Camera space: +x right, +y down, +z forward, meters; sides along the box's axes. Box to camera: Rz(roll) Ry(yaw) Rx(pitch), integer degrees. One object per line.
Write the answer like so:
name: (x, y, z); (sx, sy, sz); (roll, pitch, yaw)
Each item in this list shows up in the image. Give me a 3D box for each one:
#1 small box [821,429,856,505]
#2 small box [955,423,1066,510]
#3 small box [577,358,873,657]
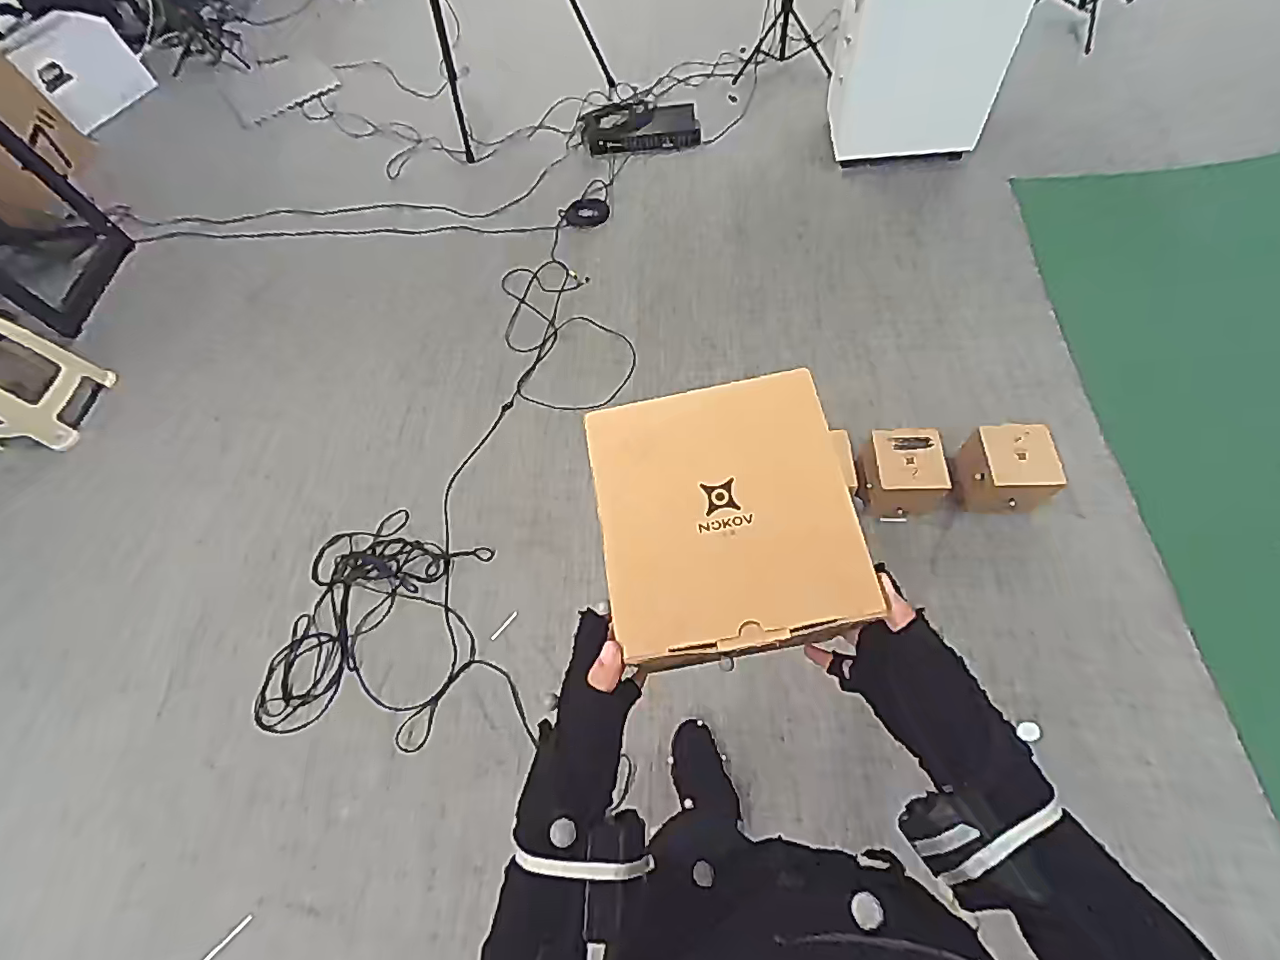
small box: (0.474, -0.018, 1.466); (0.168, 0.176, 0.179); (-2, 61, 7)
small box: (0.951, -0.028, 1.406); (0.168, 0.176, 0.179); (-1, 62, 7)
small box: (0.055, 0.035, 0.431); (0.168, 0.176, 0.179); (-12, 69, 3)
